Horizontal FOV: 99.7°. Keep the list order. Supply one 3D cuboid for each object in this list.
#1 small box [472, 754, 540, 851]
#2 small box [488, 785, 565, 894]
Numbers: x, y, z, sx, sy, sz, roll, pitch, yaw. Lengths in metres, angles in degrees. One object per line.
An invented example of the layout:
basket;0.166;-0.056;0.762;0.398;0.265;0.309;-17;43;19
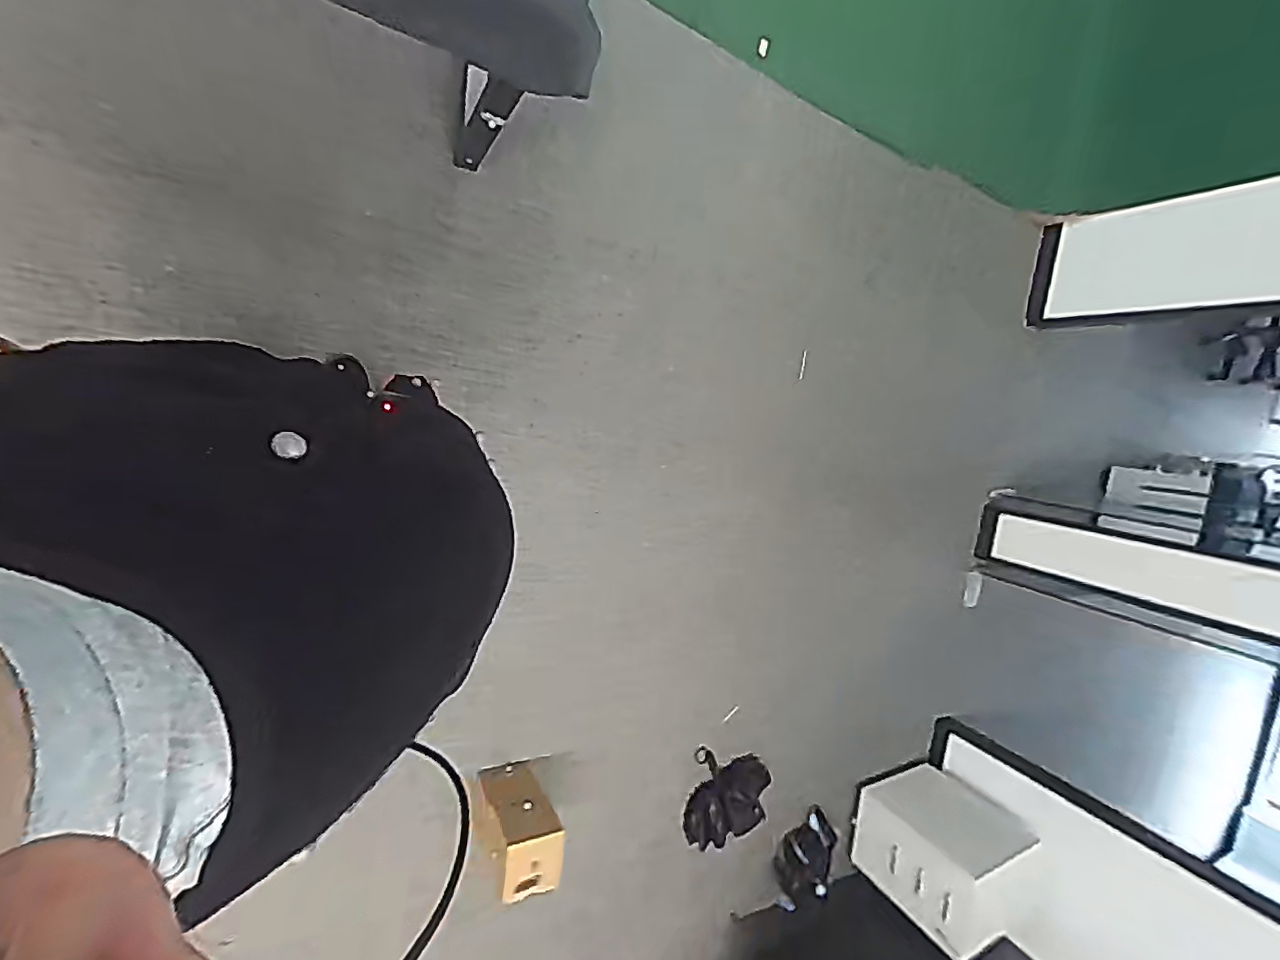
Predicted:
small box;-0.421;1.001;1.692;0.168;0.176;0.179;1;98;-31
small box;-0.331;1.025;1.556;0.168;0.176;0.179;3;98;-31
